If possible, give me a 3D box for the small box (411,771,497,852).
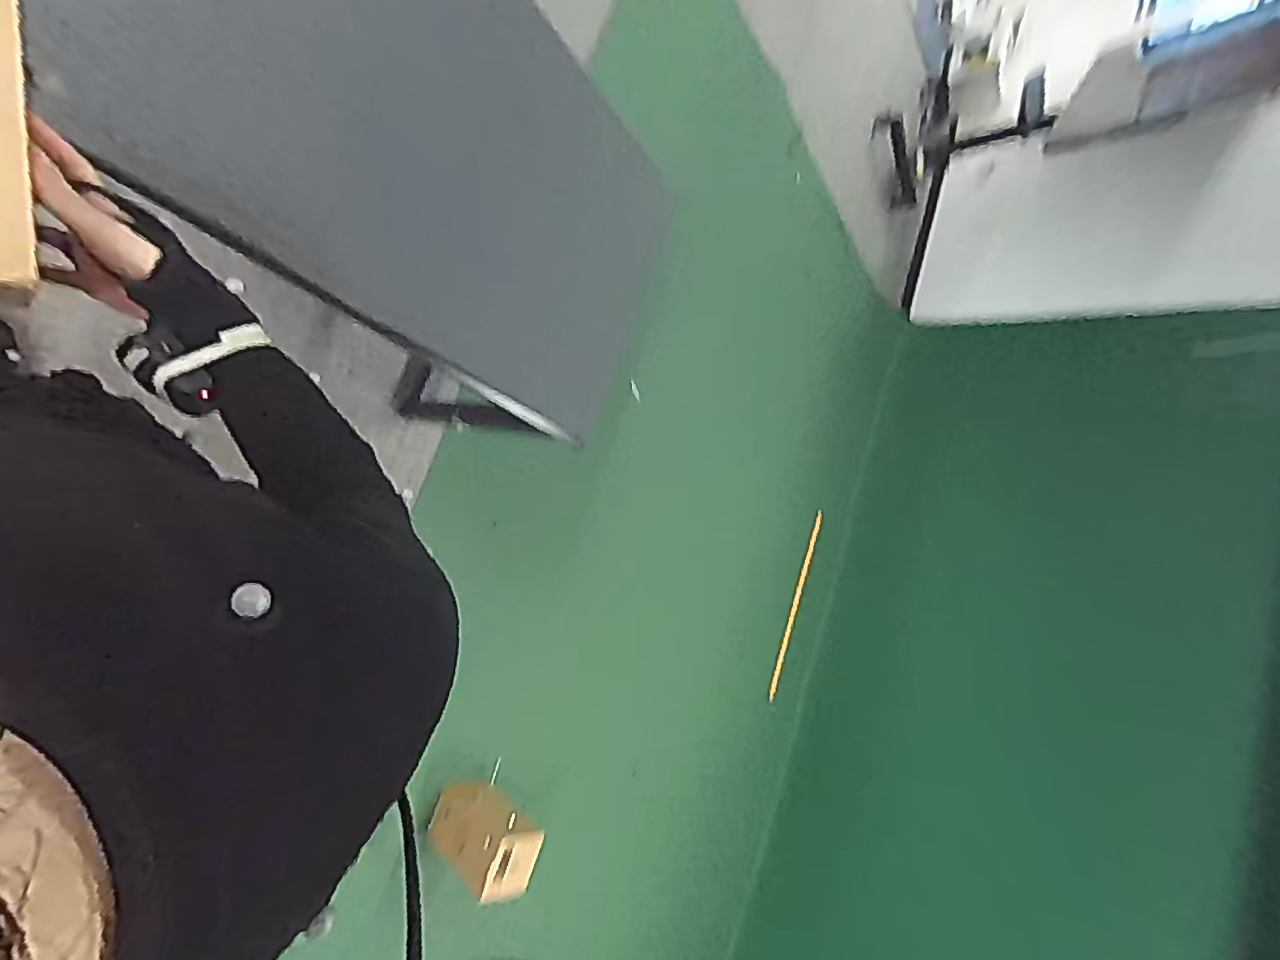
[{"bbox_3d":[-0.610,1.078,1.773,0.179,0.176,0.168,33,74,-47],"label":"small box"}]

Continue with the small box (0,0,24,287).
[{"bbox_3d":[-0.461,-0.213,0.289,0.168,0.176,0.179,-3,101,-50],"label":"small box"}]
